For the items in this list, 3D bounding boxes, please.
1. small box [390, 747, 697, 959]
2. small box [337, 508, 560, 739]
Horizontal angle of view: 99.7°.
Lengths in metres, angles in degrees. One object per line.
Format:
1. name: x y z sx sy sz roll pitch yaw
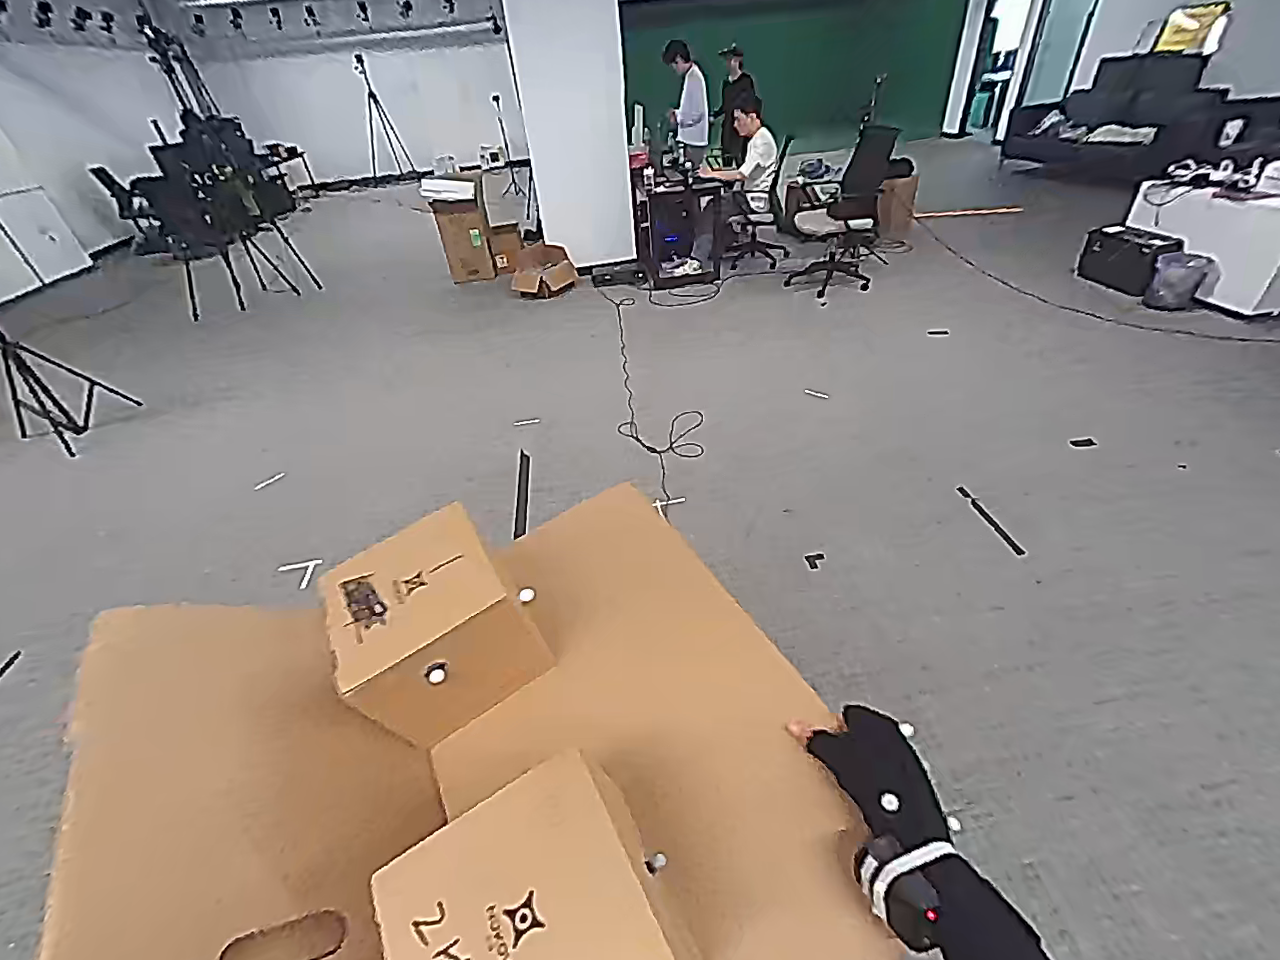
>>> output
1. small box: -0.066 0.358 0.436 0.179 0.176 0.168 -28 47 -11
2. small box: -0.223 0.174 0.647 0.179 0.176 0.168 -30 48 -13
